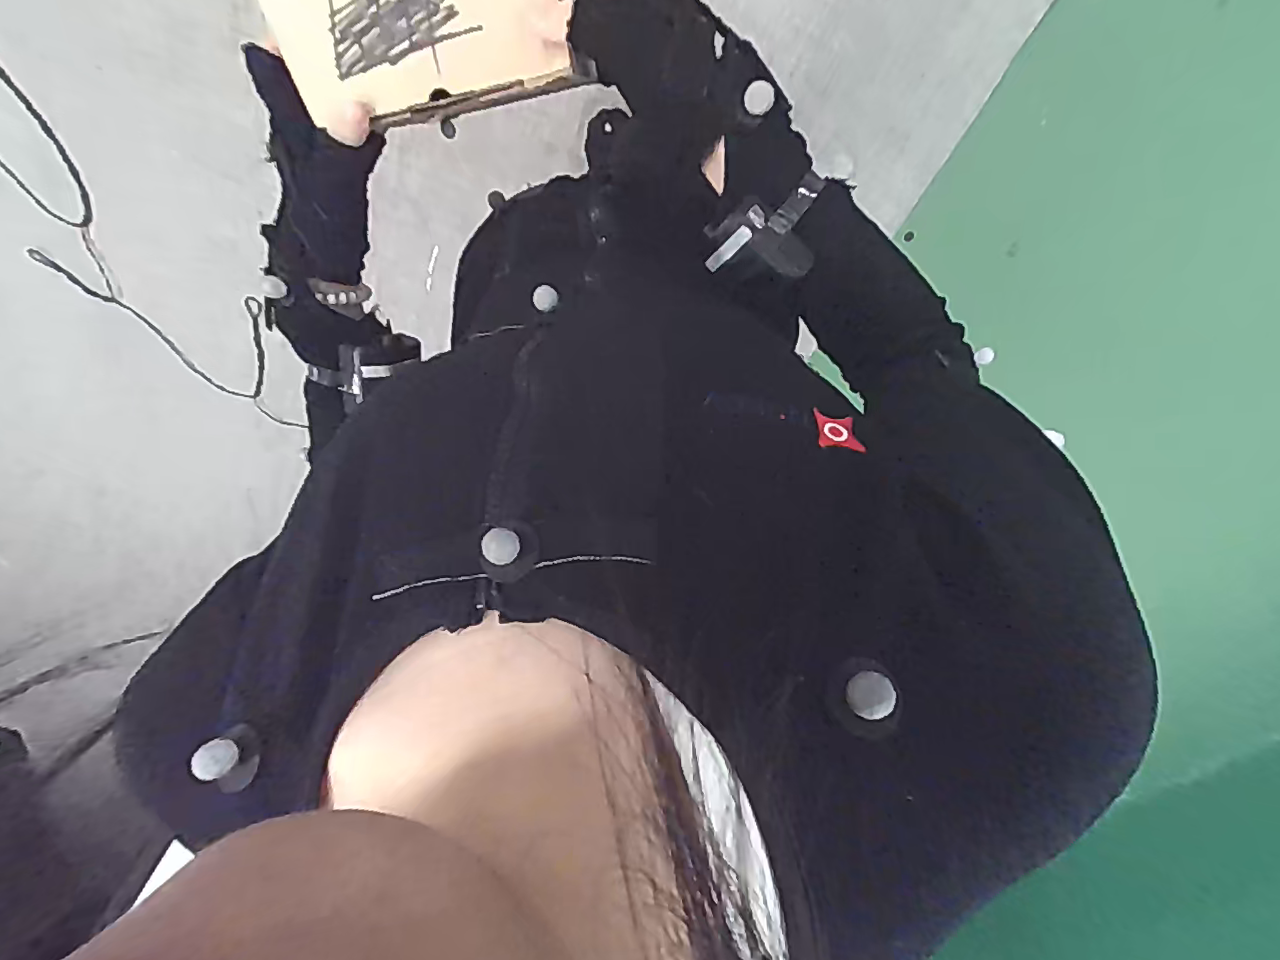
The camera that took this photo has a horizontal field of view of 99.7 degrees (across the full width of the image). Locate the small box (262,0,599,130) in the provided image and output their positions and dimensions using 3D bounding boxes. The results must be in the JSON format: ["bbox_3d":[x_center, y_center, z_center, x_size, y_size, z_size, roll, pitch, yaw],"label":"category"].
[{"bbox_3d":[-0.129,-0.342,0.336,0.168,0.176,0.179,-8,124,9],"label":"small box"}]
